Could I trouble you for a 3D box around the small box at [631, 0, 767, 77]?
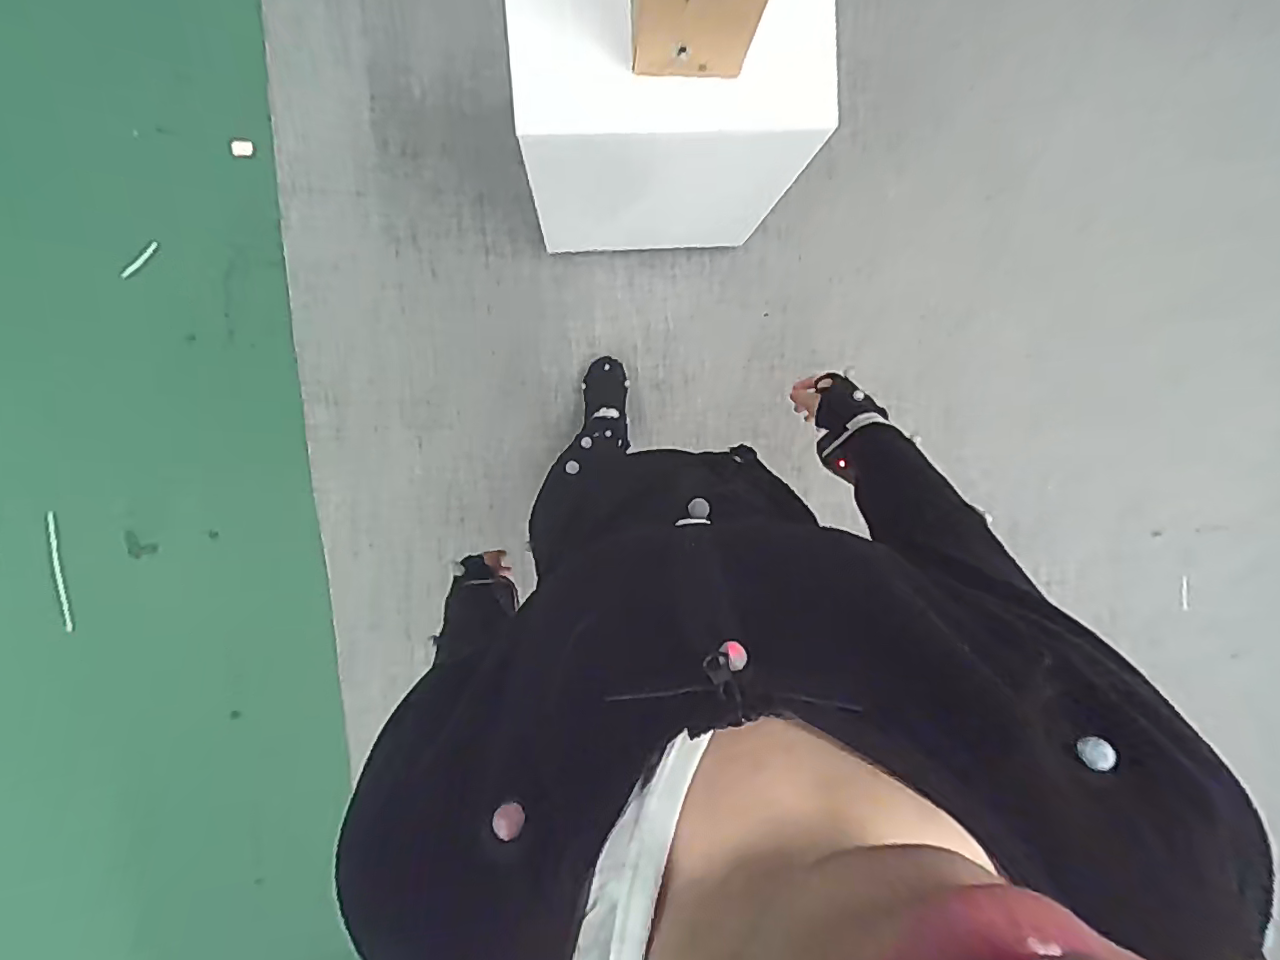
[{"bbox_3d":[0.074,-0.699,0.738,0.168,0.176,0.179,-3,95,-4],"label":"small box"}]
